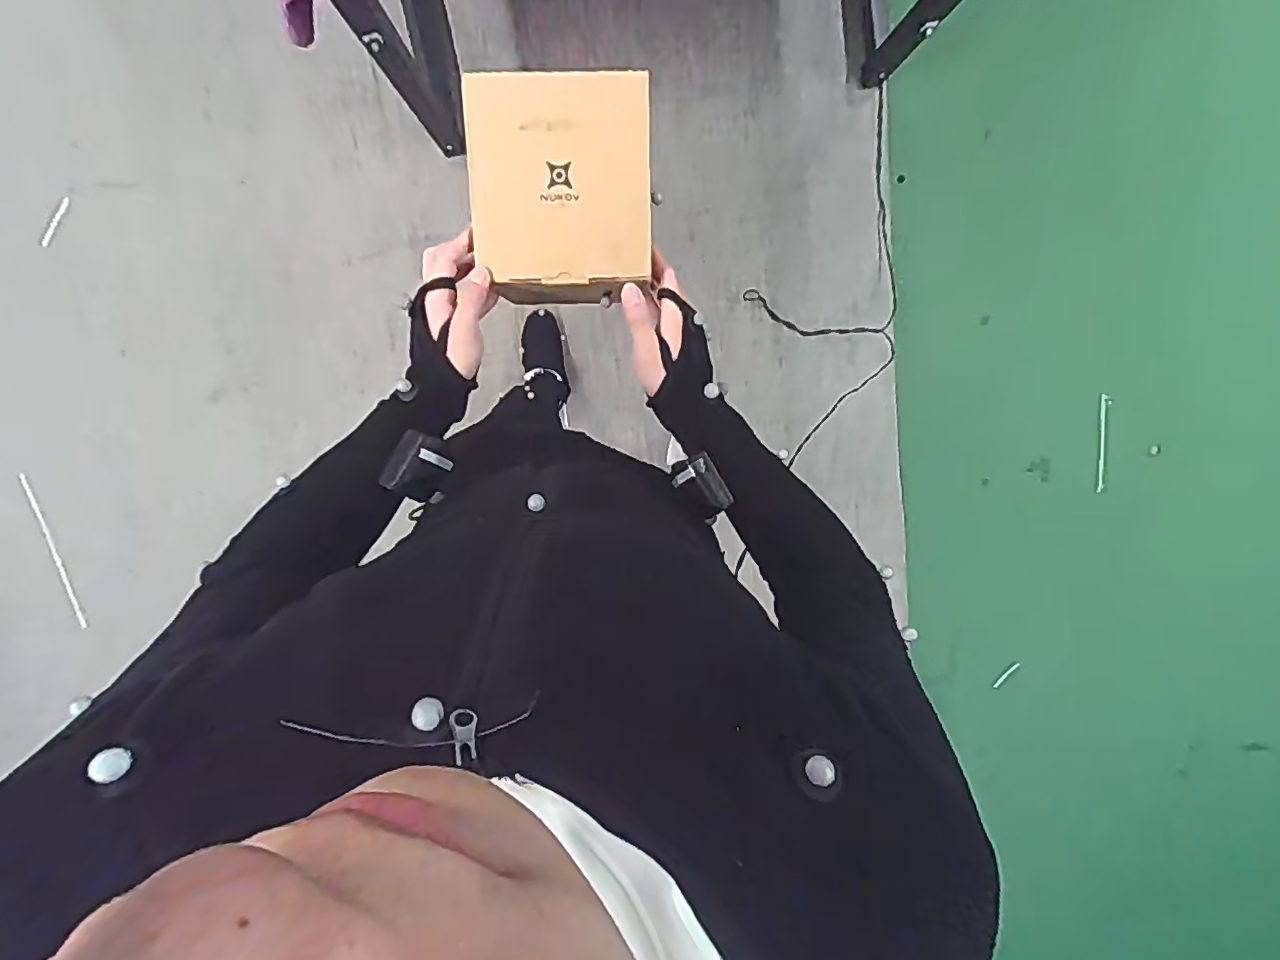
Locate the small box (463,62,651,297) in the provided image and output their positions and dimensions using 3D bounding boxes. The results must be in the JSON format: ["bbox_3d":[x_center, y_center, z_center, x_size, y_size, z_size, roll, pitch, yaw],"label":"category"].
[{"bbox_3d":[-0.074,-0.290,0.562,0.168,0.176,0.179,0,101,-2],"label":"small box"}]
